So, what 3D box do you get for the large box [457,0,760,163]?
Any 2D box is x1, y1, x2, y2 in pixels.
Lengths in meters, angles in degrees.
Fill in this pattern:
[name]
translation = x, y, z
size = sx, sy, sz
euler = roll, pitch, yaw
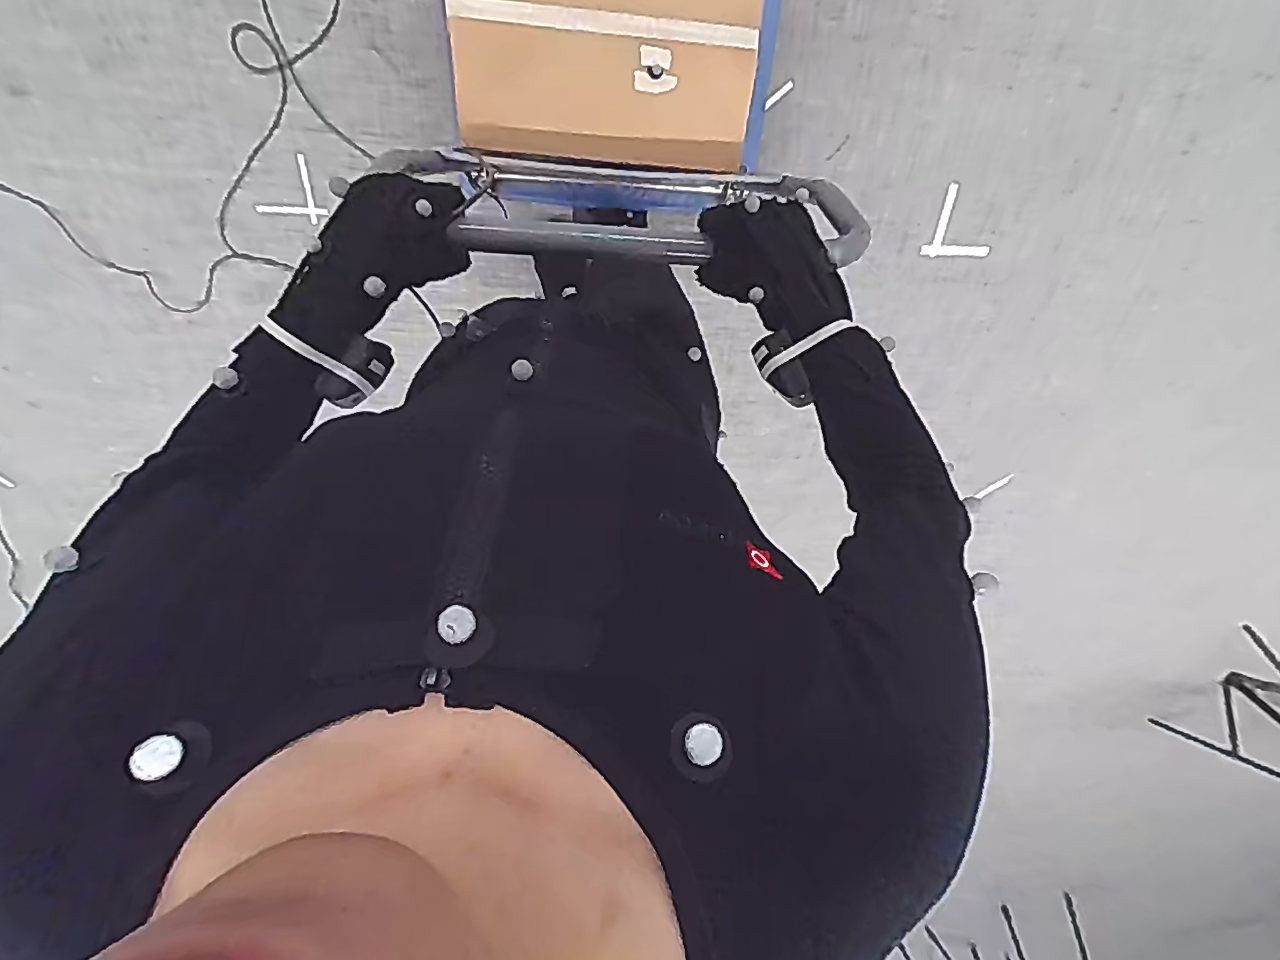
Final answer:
[large box]
translation = -0.053, -0.686, 0.842
size = 0.408, 0.320, 0.320
euler = 1, 121, -7
